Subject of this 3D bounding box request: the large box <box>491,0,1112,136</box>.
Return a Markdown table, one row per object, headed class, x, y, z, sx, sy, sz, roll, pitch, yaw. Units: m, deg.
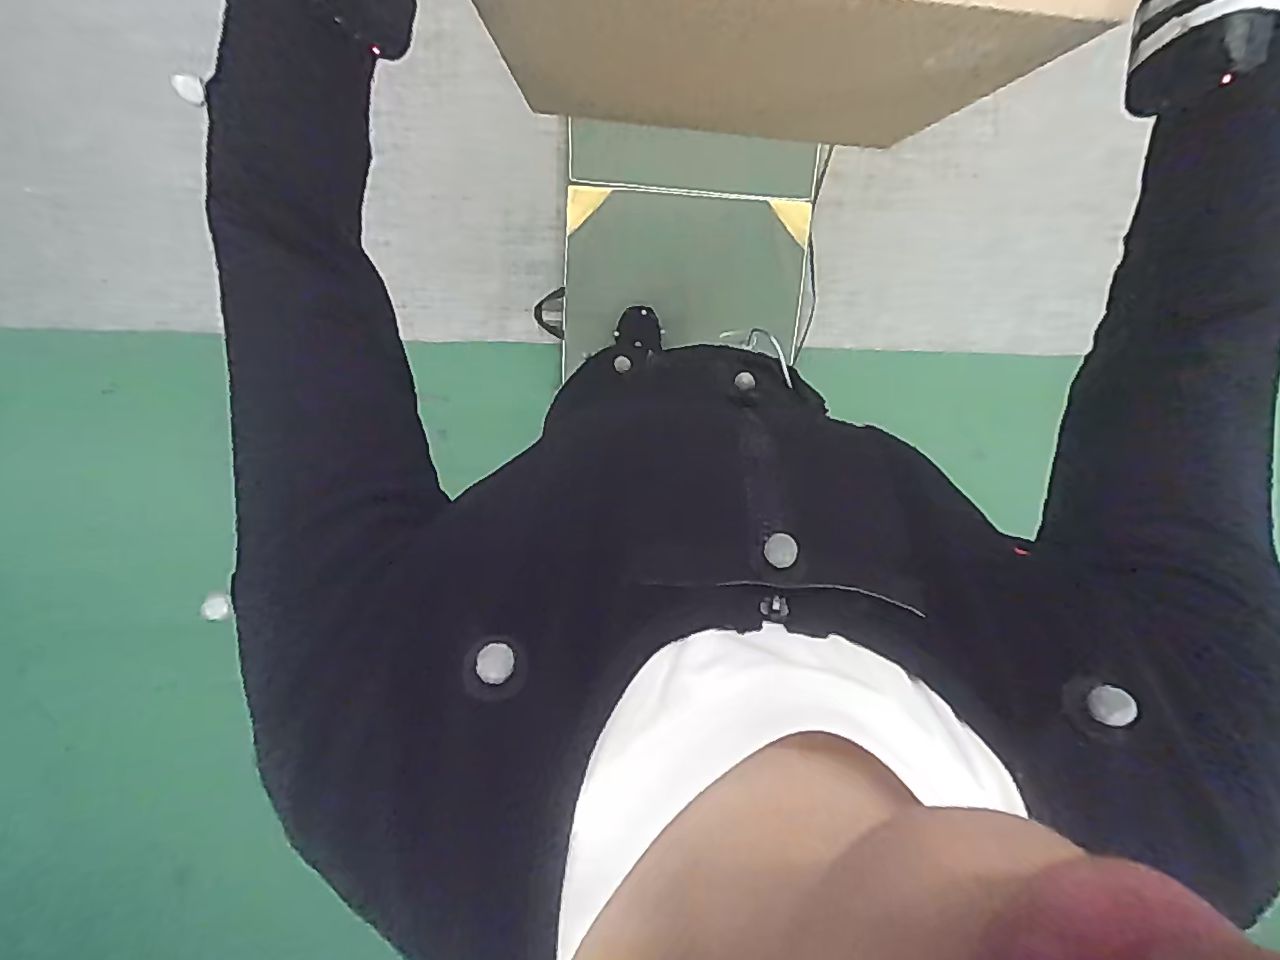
| class | x | y | z | sx | sy | sz | roll | pitch | yaw |
| --- | --- | --- | --- | --- | --- | --- | --- | --- | --- |
| large box | 0.096 | -0.489 | 0.412 | 0.408 | 0.320 | 0.320 | 3 | 110 | -4 |
